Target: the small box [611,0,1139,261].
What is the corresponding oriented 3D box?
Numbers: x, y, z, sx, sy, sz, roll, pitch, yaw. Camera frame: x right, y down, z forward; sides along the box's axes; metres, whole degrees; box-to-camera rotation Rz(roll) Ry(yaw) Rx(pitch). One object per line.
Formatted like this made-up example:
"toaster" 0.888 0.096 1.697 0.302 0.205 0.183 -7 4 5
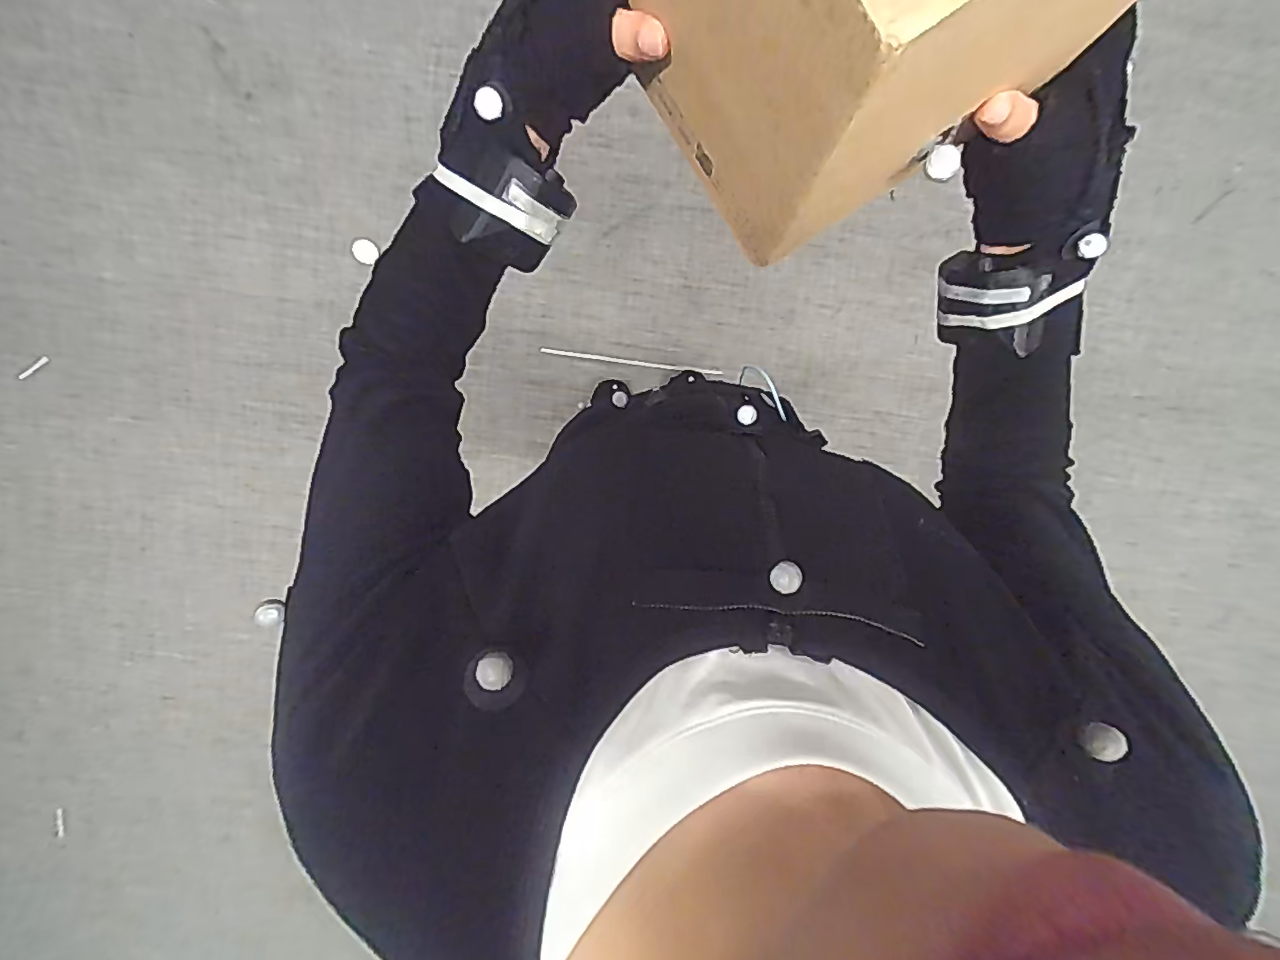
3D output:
"small box" 0.094 -0.223 0.210 0.179 0.176 0.168 -32 91 1
